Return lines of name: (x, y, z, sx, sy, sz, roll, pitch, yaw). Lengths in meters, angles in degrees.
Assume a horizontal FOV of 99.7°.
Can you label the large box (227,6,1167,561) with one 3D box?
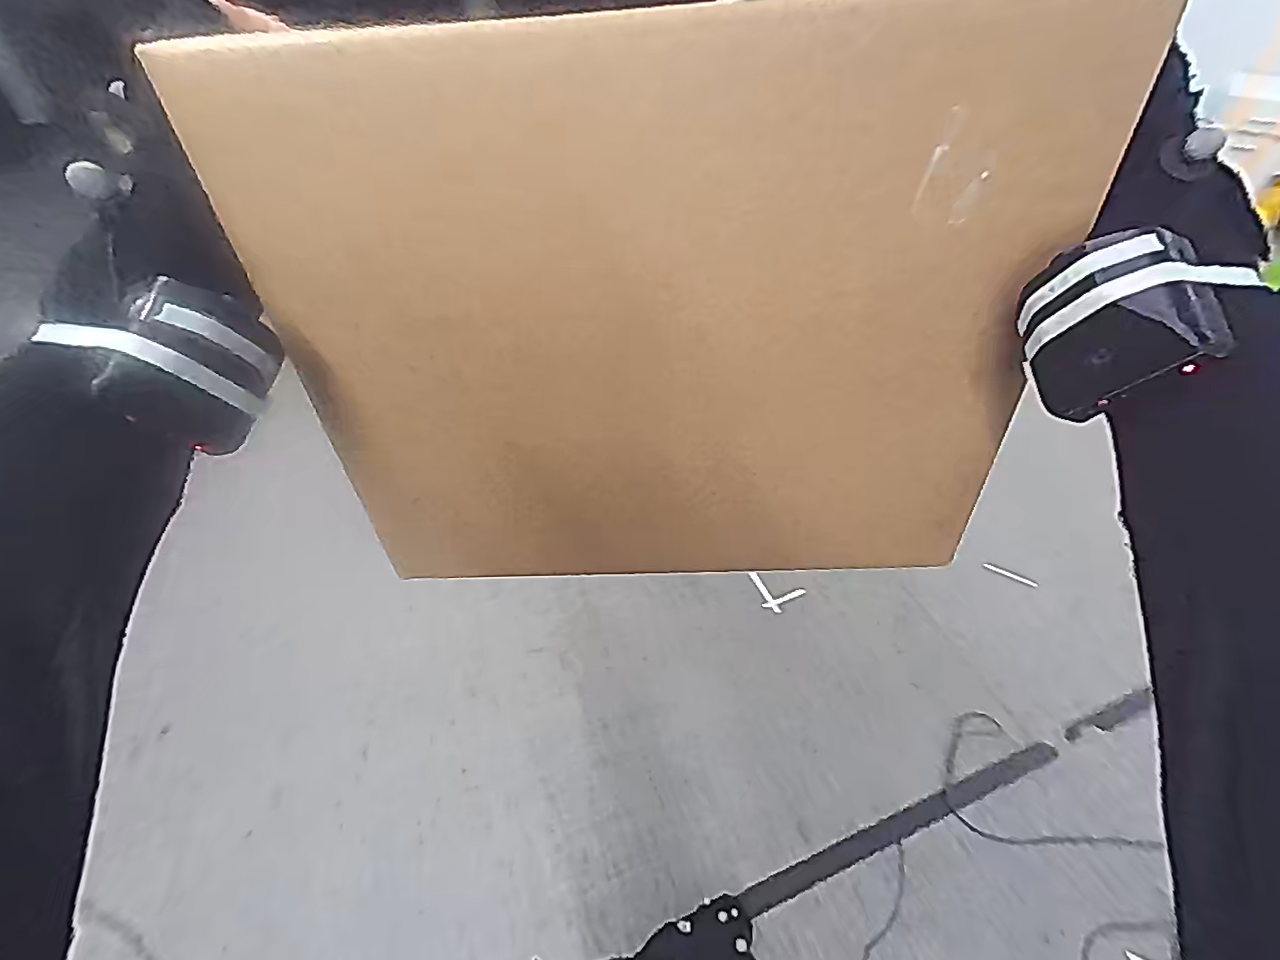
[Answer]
large box: (0.025, -0.150, 0.431, 0.408, 0.320, 0.320, -1, 38, 3)
